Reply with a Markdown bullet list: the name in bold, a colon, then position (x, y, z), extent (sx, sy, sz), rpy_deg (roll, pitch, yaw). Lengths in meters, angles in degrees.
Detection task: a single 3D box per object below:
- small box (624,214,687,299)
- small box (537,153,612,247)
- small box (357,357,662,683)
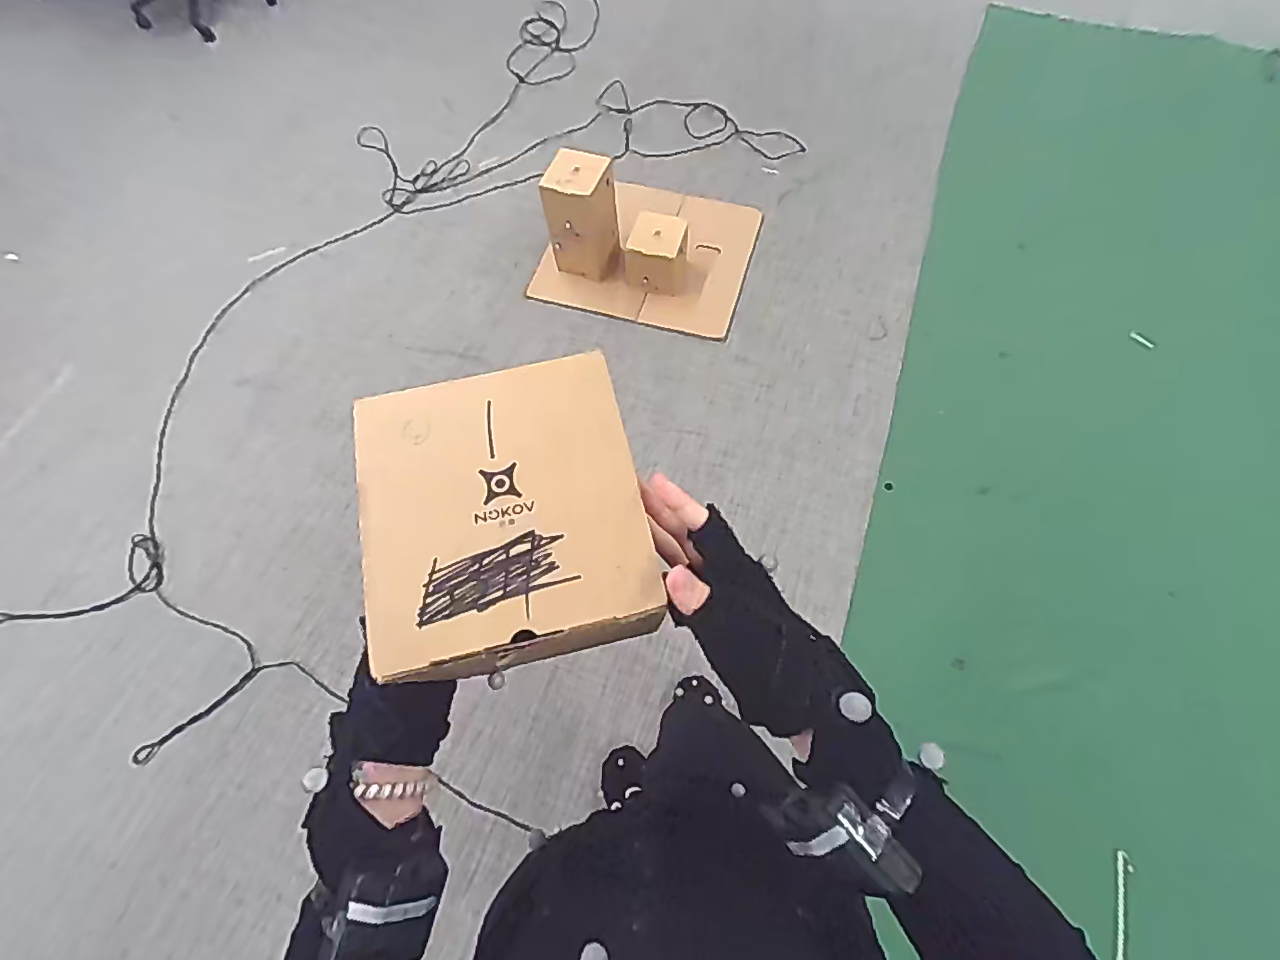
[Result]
- **small box**: position (0.050, -0.732, 1.779), extent (0.168, 0.176, 0.179), rpy_deg (14, 68, 7)
- **small box**: position (-0.193, -0.857, 1.659), extent (0.168, 0.176, 0.179), rpy_deg (18, 68, 11)
- **small box**: position (-0.083, 0.040, 0.400), extent (0.168, 0.176, 0.179), rpy_deg (-13, 70, -5)
